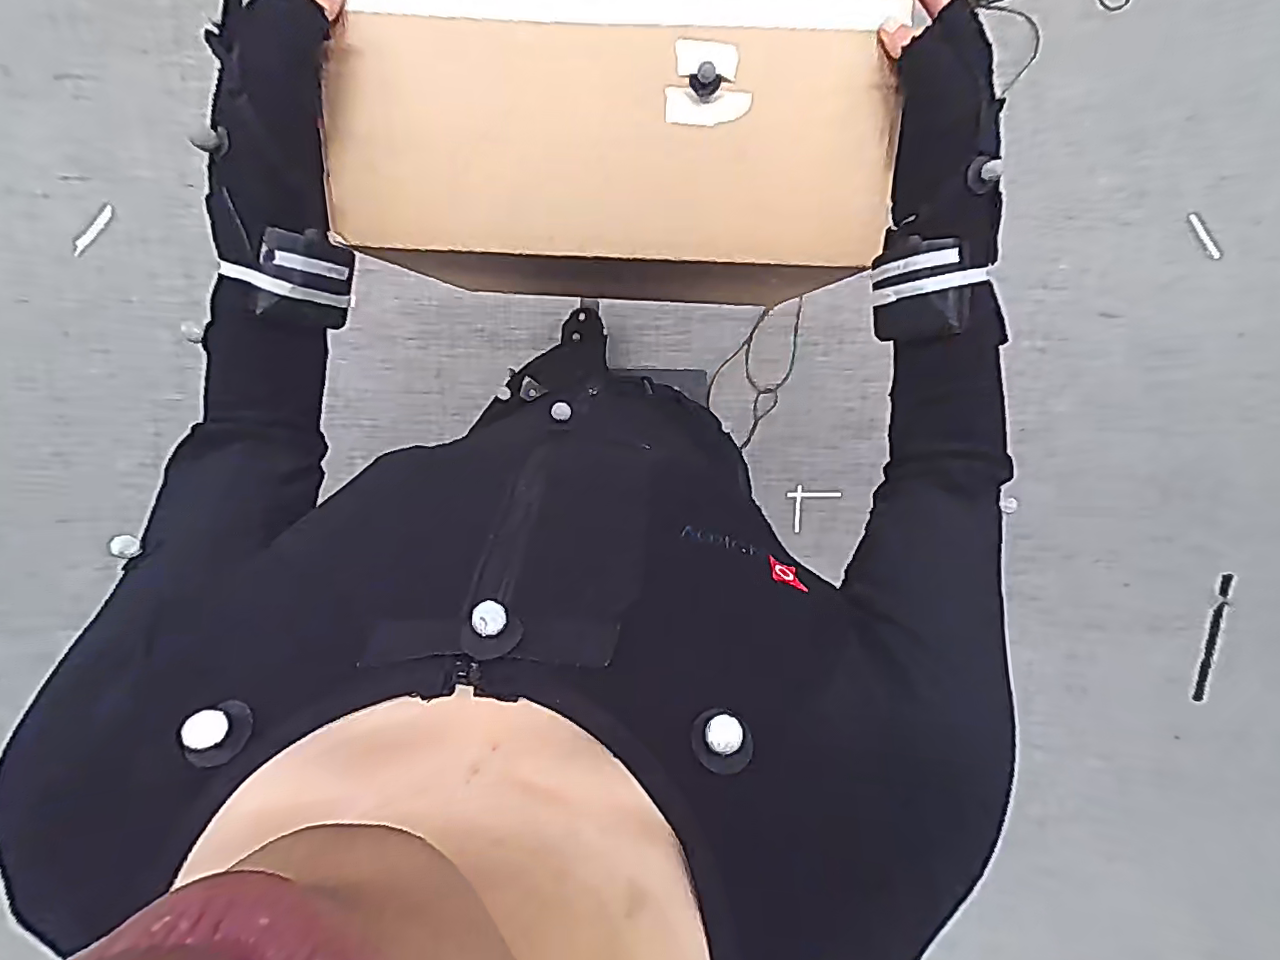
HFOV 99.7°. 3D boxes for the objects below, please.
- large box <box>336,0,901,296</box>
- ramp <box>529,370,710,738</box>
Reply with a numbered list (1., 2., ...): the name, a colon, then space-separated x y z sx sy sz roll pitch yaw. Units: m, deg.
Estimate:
1. large box: -0.017 -0.361 0.525 0.408 0.320 0.320 2 103 -1
2. ramp: -0.058 0.198 1.477 0.509 0.206 0.991 -1 99 2
